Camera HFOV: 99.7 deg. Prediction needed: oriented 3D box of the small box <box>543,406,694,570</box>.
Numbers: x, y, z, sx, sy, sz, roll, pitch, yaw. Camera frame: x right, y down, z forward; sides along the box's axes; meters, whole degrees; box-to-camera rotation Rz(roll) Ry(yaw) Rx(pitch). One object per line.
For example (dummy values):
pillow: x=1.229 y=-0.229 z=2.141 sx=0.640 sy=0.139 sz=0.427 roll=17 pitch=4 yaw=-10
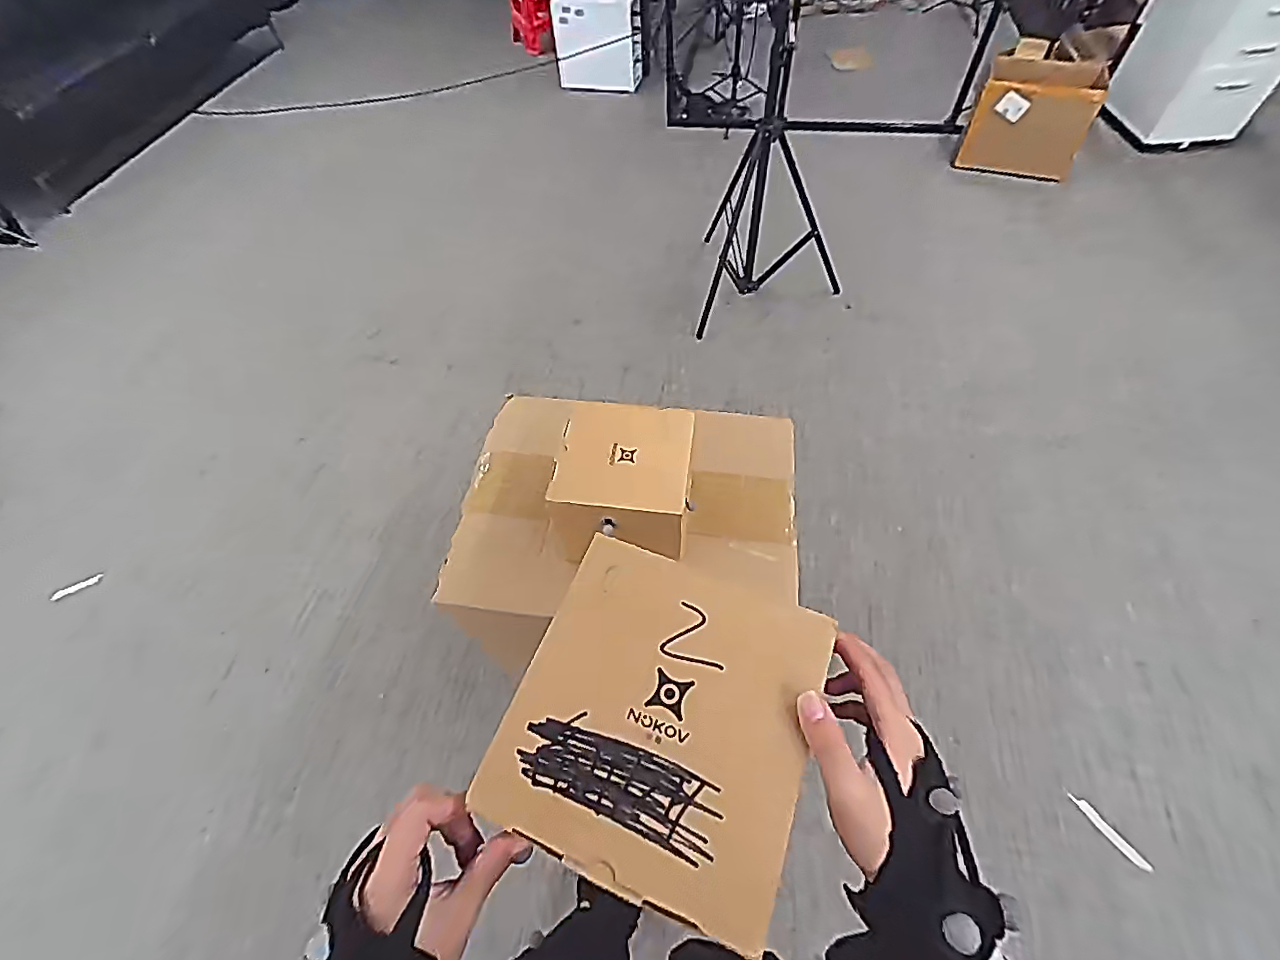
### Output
small box: x=-0.020 y=0.017 z=0.773 sx=0.179 sy=0.176 sz=0.168 roll=5 pitch=57 yaw=7
